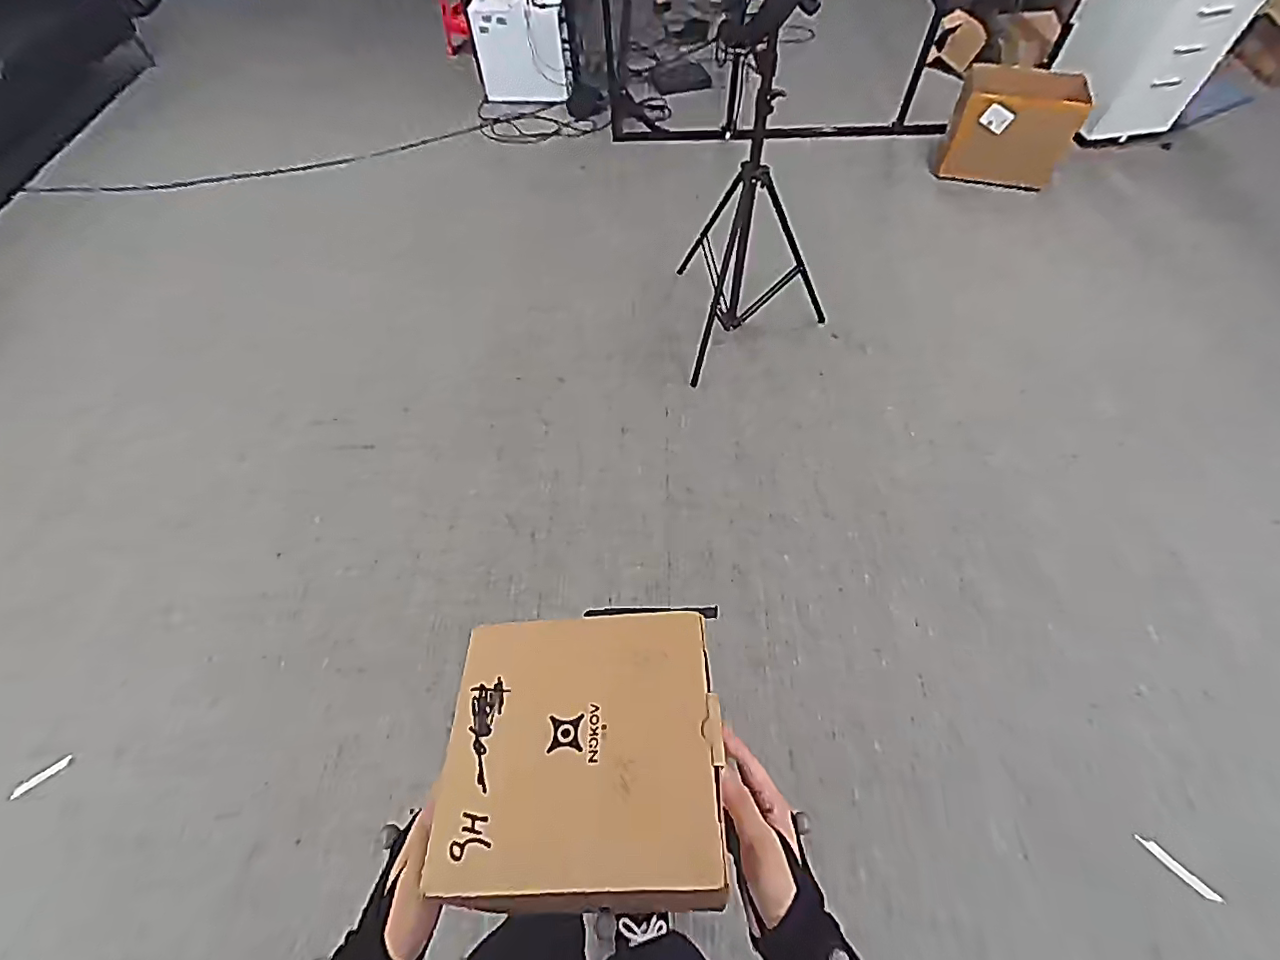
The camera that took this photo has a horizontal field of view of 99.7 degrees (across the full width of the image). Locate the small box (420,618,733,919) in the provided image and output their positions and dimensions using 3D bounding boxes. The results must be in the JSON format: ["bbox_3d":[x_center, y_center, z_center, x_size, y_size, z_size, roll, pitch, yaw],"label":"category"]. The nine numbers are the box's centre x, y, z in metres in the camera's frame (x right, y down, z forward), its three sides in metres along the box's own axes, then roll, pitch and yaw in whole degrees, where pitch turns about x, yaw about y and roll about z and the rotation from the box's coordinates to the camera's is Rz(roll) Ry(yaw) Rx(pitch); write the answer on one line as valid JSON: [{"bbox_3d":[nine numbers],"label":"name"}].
[{"bbox_3d":[-0.030,0.218,0.408,0.179,0.176,0.168,-3,48,4],"label":"small box"}]
